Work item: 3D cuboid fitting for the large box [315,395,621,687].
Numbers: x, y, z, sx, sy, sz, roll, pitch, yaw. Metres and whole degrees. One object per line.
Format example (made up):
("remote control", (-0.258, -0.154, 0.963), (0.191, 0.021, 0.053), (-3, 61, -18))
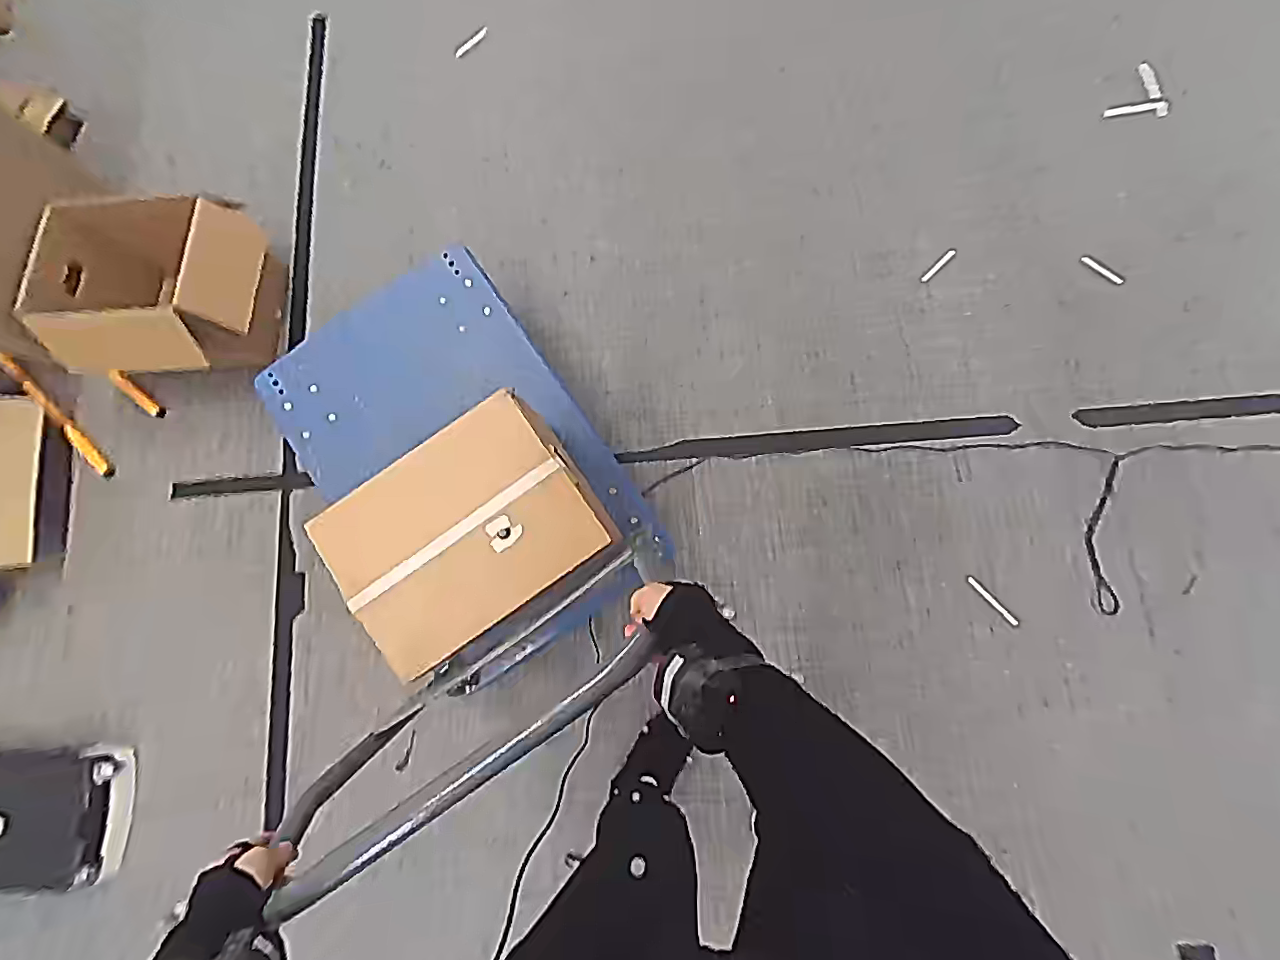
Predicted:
("large box", (-0.289, 0.111, 1.031), (0.408, 0.320, 0.320), (-36, 85, -3))
